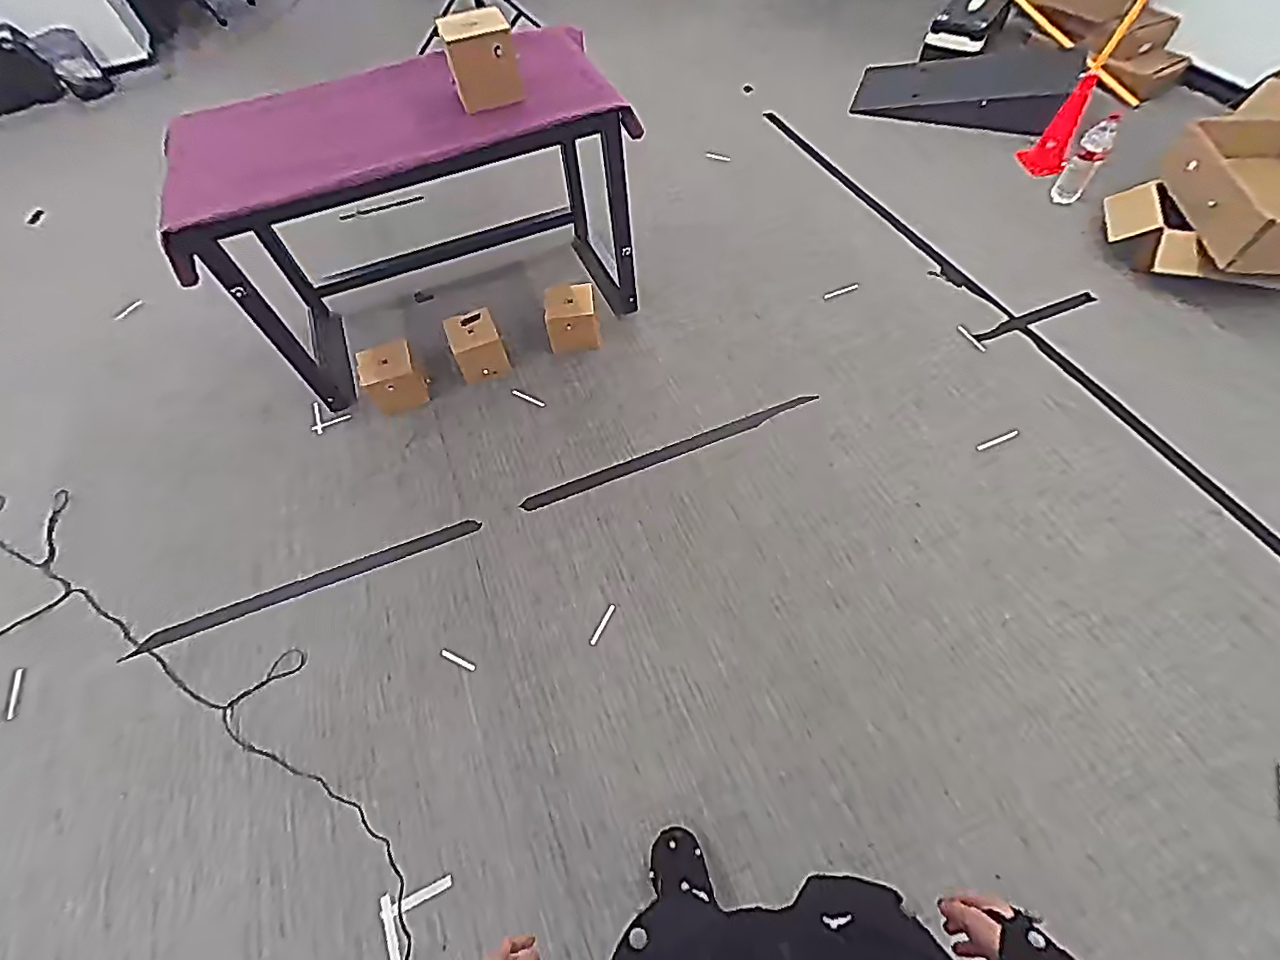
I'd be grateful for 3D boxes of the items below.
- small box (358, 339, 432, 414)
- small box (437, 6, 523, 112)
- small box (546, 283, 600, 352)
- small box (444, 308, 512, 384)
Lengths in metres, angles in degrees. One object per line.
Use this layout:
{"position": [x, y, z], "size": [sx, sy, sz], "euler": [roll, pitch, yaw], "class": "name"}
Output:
{"position": [-0.853, -0.355, 1.889], "size": [0.179, 0.176, 0.168], "euler": [-20, 61, -9], "class": "small box"}
{"position": [-0.430, -1.149, 1.480], "size": [0.179, 0.176, 0.168], "euler": [-20, 59, -7], "class": "small box"}
{"position": [-0.244, -0.594, 1.987], "size": [0.179, 0.176, 0.168], "euler": [-7, 59, 1], "class": "small box"}
{"position": [-0.579, -0.479, 1.941], "size": [0.168, 0.176, 0.179], "euler": [-22, 61, -9], "class": "small box"}
